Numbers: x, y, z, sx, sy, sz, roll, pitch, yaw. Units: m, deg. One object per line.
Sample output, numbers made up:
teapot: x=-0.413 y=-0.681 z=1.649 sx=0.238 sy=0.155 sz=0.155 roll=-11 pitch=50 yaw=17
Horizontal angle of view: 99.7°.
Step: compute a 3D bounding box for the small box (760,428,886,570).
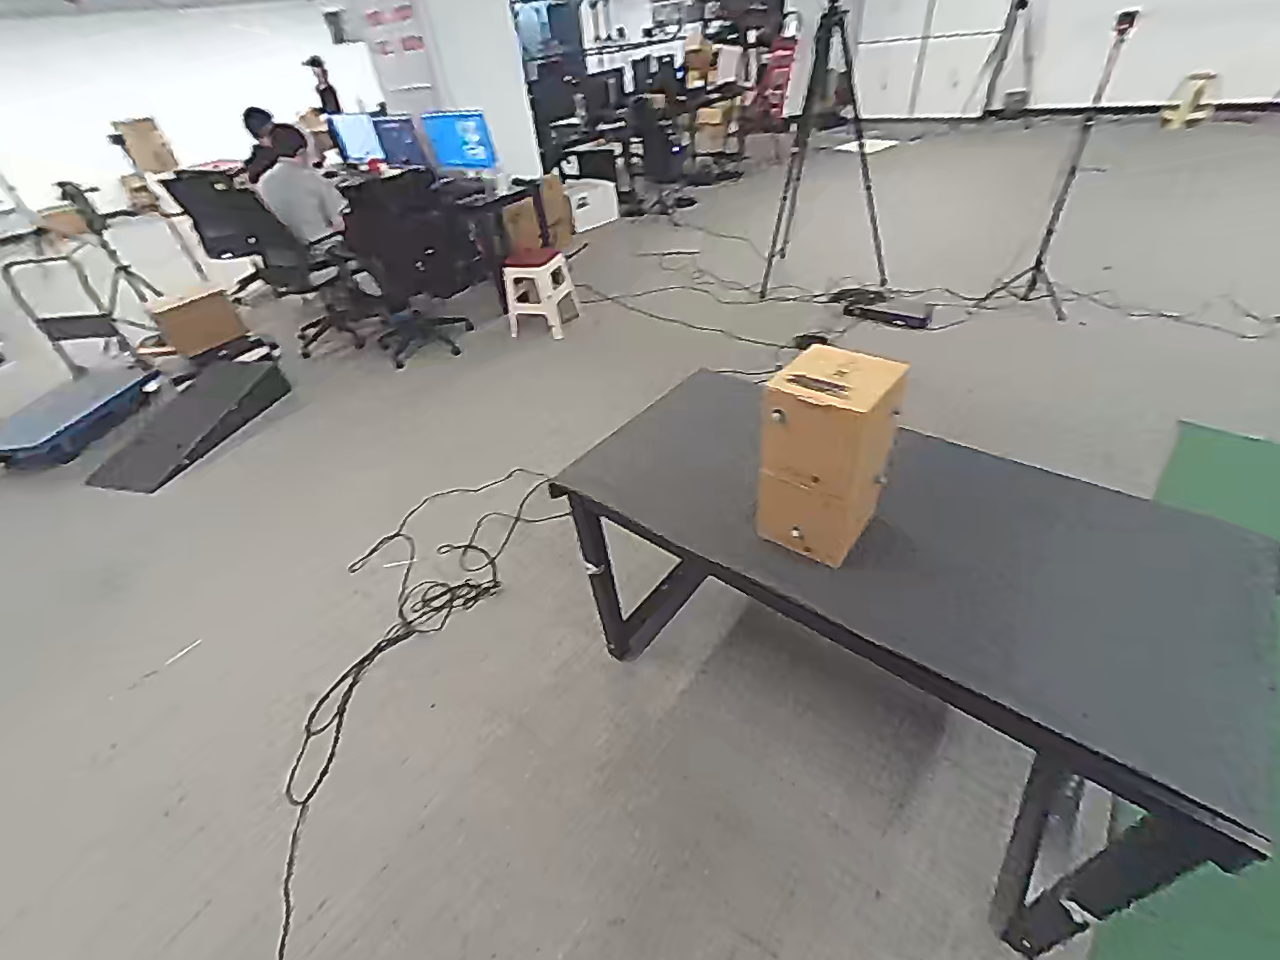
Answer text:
small box: x=0.336 y=0.033 z=1.018 sx=0.168 sy=0.176 sz=0.179 roll=23 pitch=48 yaw=32
